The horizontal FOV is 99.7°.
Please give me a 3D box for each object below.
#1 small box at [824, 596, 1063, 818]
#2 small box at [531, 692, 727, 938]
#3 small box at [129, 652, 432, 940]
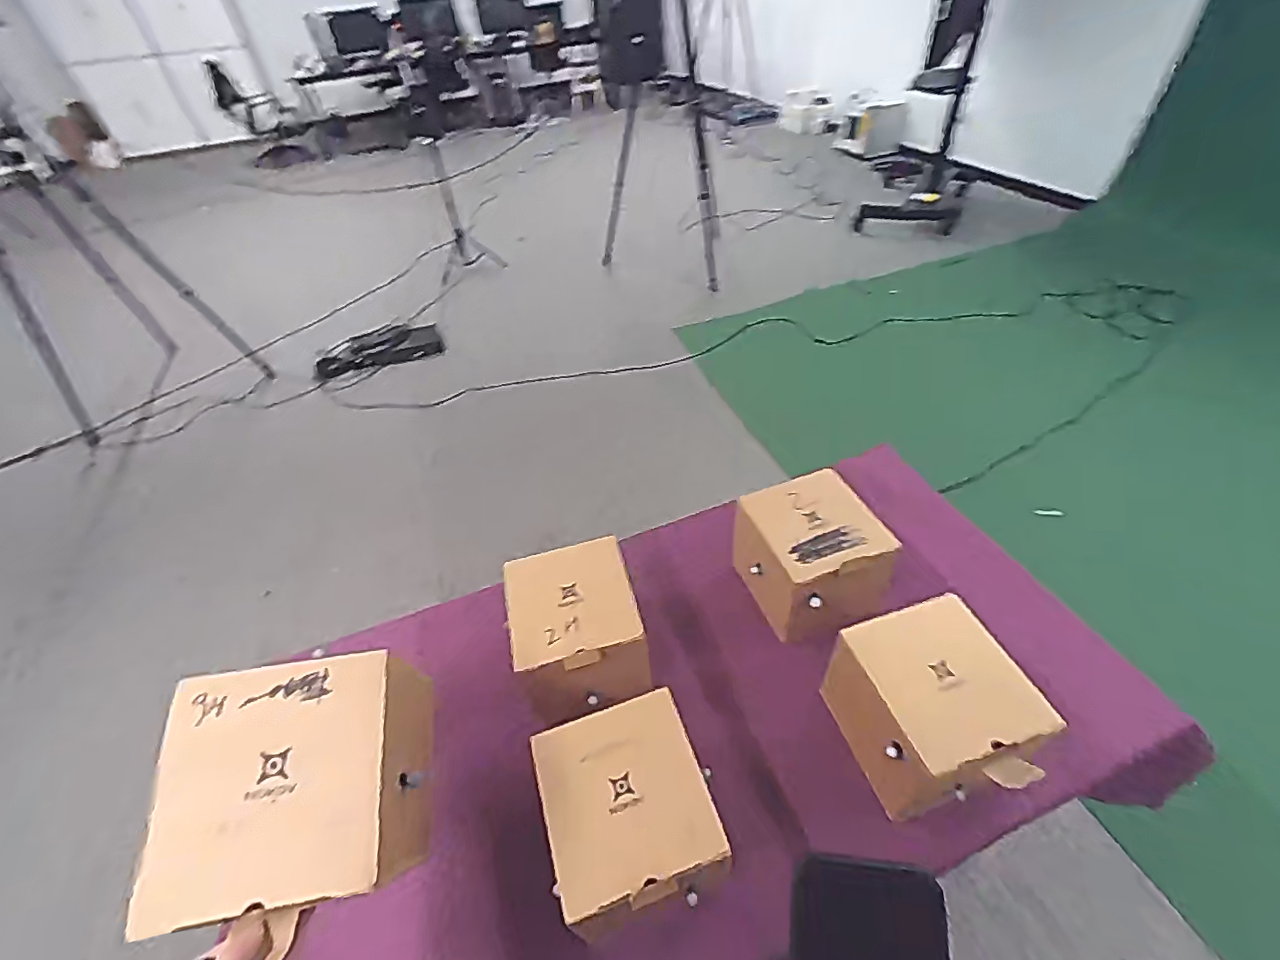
[{"bbox_3d":[0.350,0.279,0.669,0.168,0.176,0.179,-15,45,-9],"label":"small box"},{"bbox_3d":[-0.011,0.380,0.610,0.168,0.176,0.179,-16,44,-11],"label":"small box"},{"bbox_3d":[-0.293,0.269,0.491,0.168,0.176,0.179,-6,63,-10],"label":"small box"}]
